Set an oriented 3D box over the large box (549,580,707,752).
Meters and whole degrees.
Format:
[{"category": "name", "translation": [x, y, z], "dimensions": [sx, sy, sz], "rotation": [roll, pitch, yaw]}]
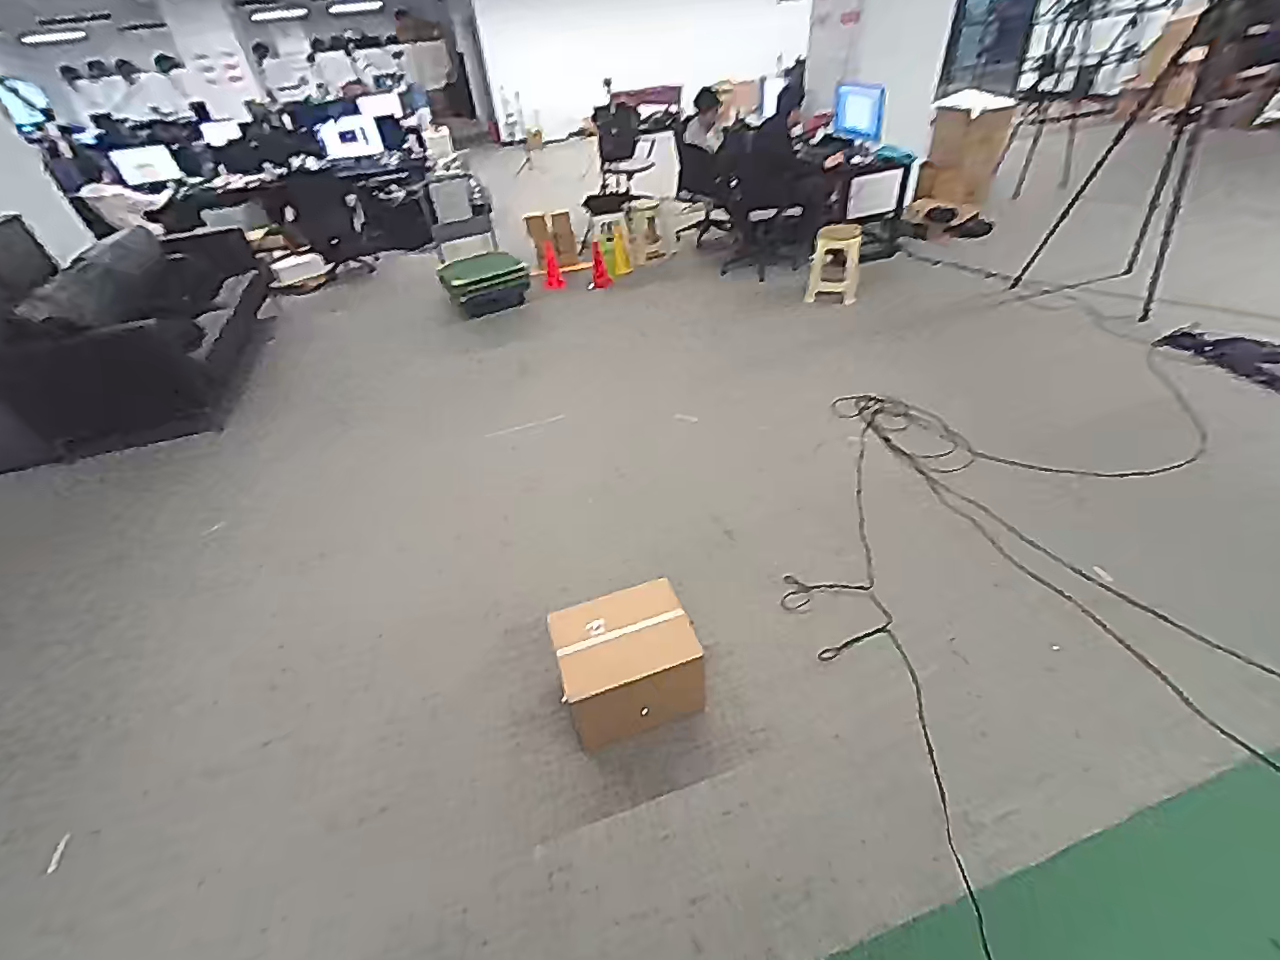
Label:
[{"category": "large box", "translation": [-0.033, 0.584, 1.711], "dimensions": [0.408, 0.320, 0.320], "rotation": [-17, 40, -11]}]
